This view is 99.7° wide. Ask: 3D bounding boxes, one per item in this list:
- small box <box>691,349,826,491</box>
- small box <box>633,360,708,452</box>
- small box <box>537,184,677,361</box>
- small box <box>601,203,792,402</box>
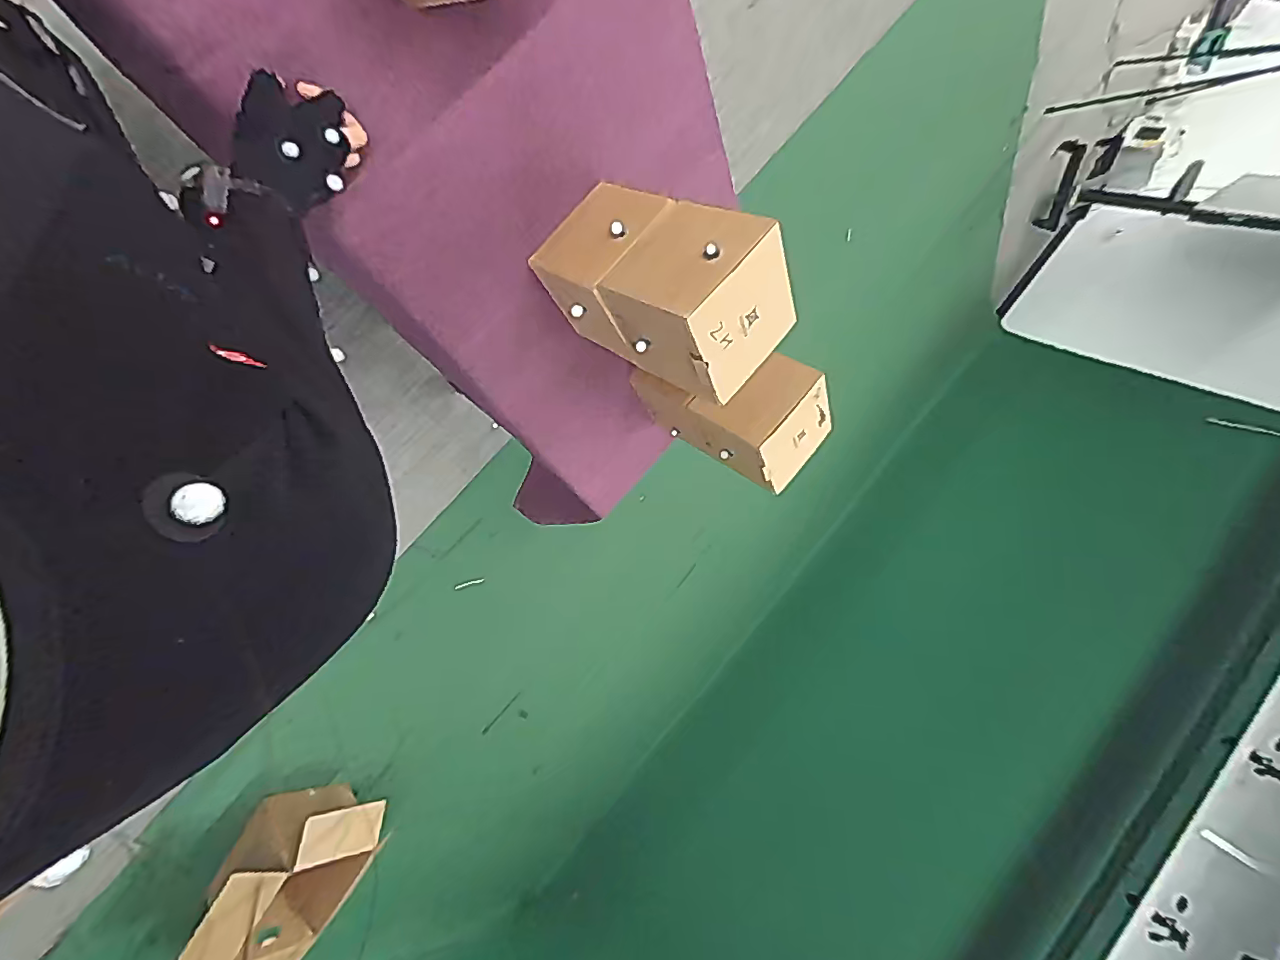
[{"bbox_3d":[0.213,-0.119,0.990,0.179,0.176,0.168,-47,144,-9],"label":"small box"},{"bbox_3d":[0.108,-0.195,1.091,0.179,0.176,0.168,-47,144,-10],"label":"small box"},{"bbox_3d":[-0.034,-0.321,0.833,0.179,0.176,0.168,-50,144,-8],"label":"small box"},{"bbox_3d":[0.080,-0.246,0.739,0.179,0.176,0.168,-47,143,-10],"label":"small box"}]
